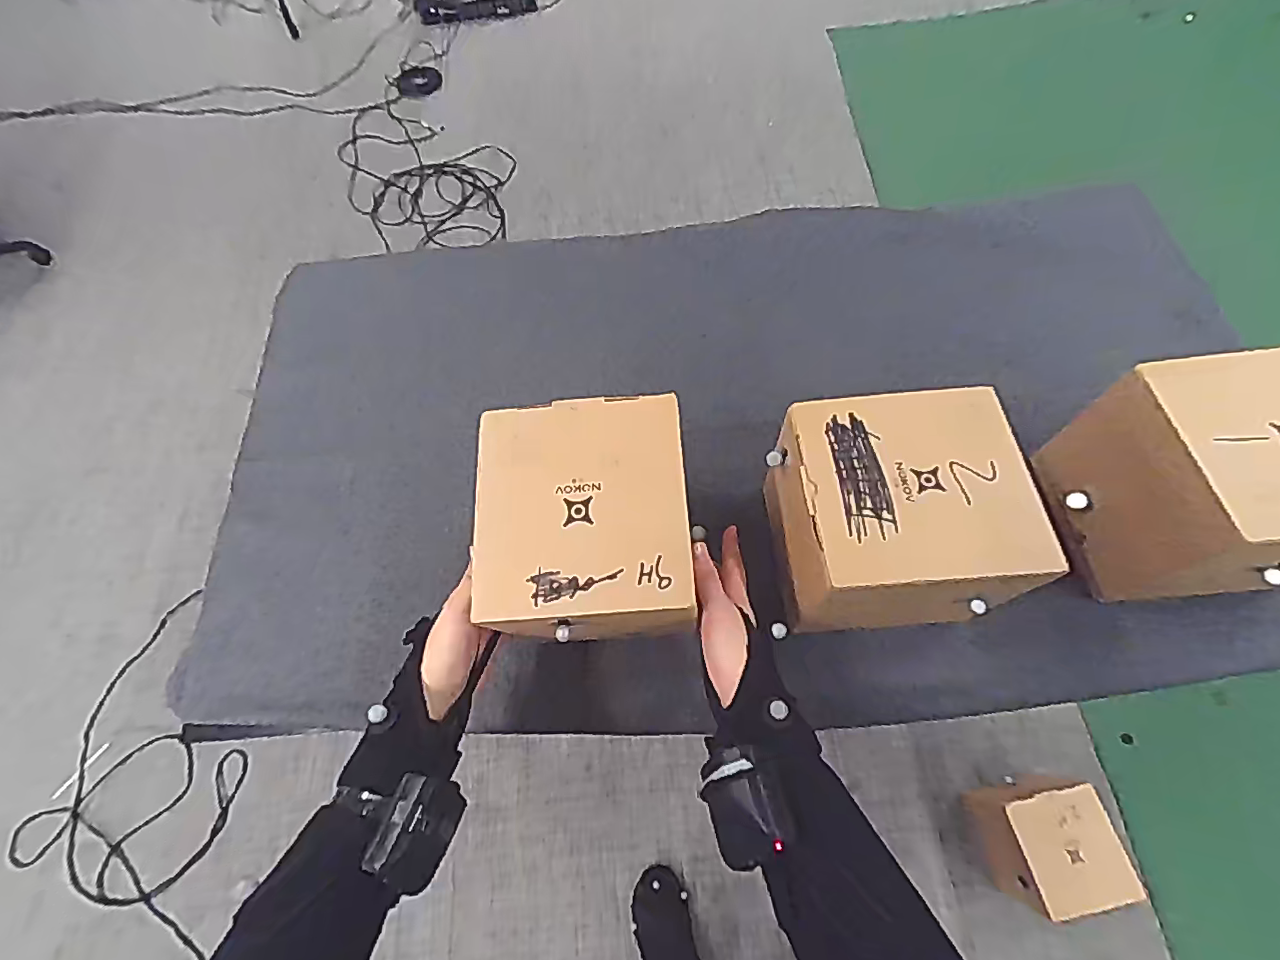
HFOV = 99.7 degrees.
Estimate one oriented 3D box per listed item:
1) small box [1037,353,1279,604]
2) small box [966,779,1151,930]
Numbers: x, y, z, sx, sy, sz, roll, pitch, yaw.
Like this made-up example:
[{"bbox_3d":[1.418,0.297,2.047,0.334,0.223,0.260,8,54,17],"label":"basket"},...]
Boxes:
[{"bbox_3d":[0.514,0.006,0.482,0.179,0.176,0.168,-5,62,4],"label":"small box"},{"bbox_3d":[0.738,0.664,0.979,0.168,0.176,0.179,-13,66,-1],"label":"small box"}]
